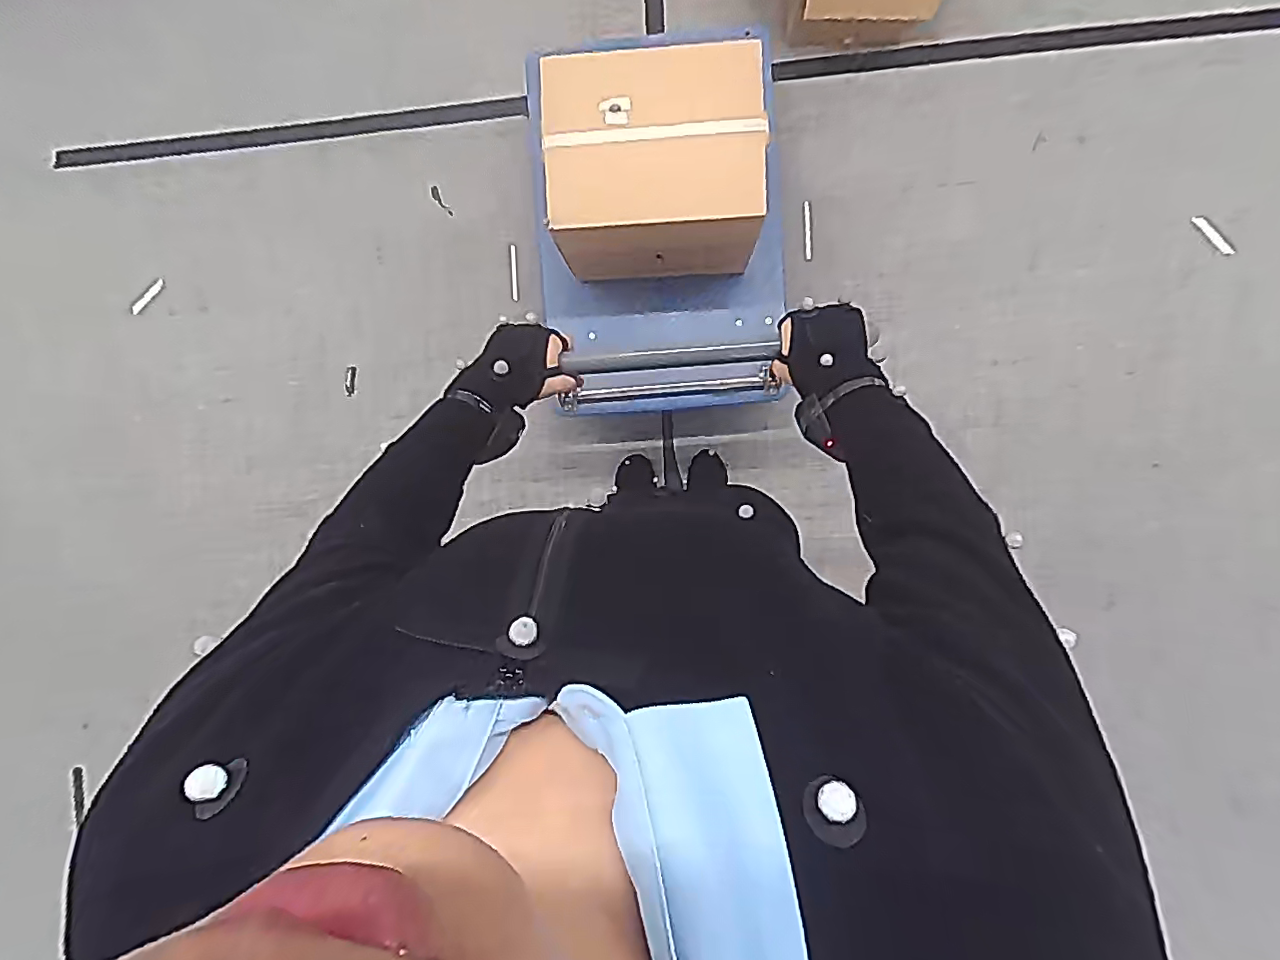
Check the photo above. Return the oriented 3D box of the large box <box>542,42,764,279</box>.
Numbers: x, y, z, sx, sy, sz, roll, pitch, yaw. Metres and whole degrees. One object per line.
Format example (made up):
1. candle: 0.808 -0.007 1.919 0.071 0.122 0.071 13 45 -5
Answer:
1. large box: 0.034 -0.639 1.146 0.408 0.320 0.320 -2 92 4
